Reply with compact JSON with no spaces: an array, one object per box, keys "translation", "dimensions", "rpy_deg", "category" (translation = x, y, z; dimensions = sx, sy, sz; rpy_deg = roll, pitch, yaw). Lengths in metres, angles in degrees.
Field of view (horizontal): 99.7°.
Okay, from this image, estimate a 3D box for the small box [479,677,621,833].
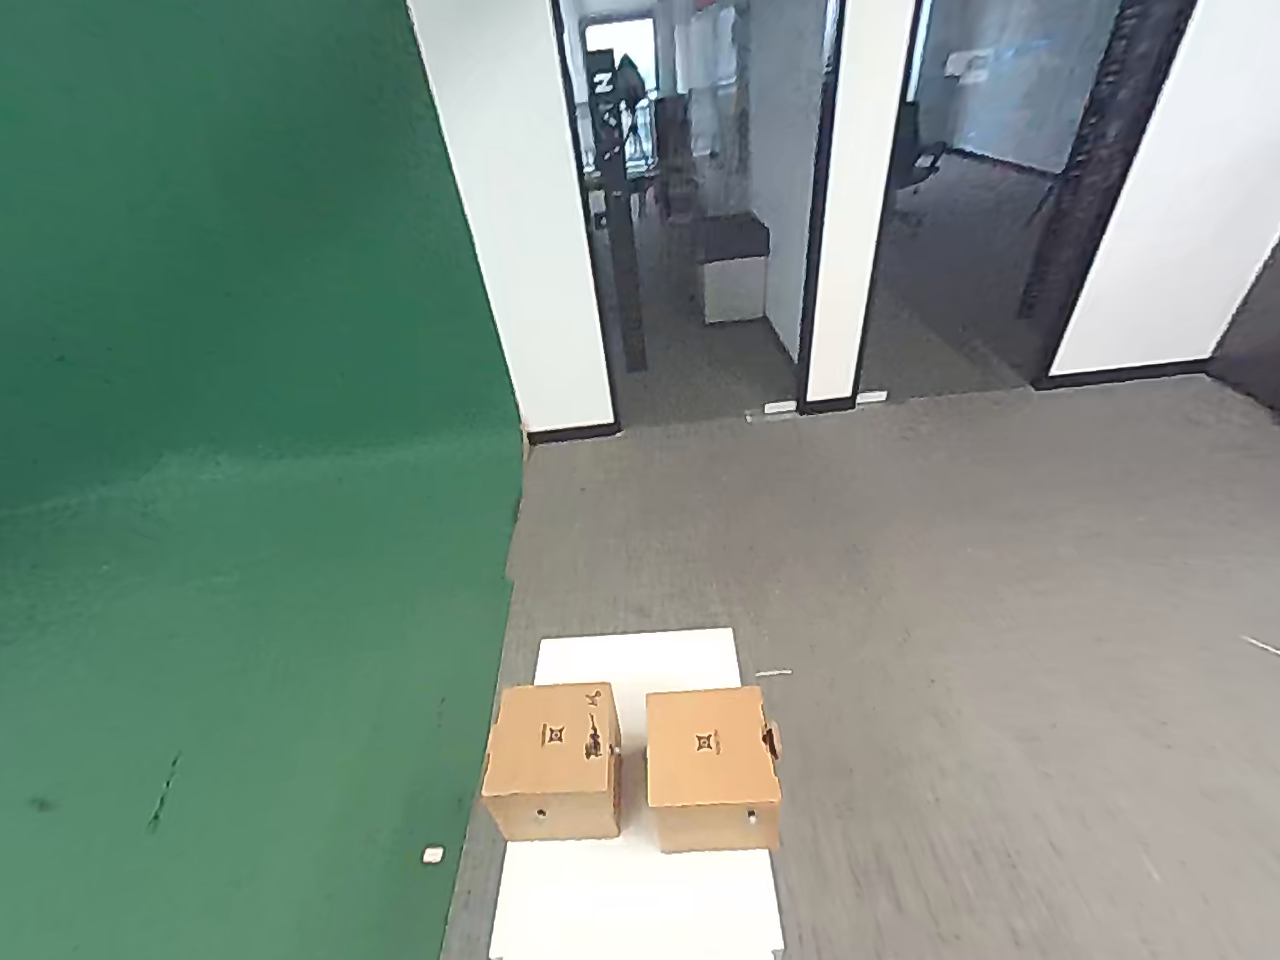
[{"translation":[-0.128,0.430,0.844],"dimensions":[0.179,0.176,0.168],"rpy_deg":[-4,39,3],"category":"small box"}]
